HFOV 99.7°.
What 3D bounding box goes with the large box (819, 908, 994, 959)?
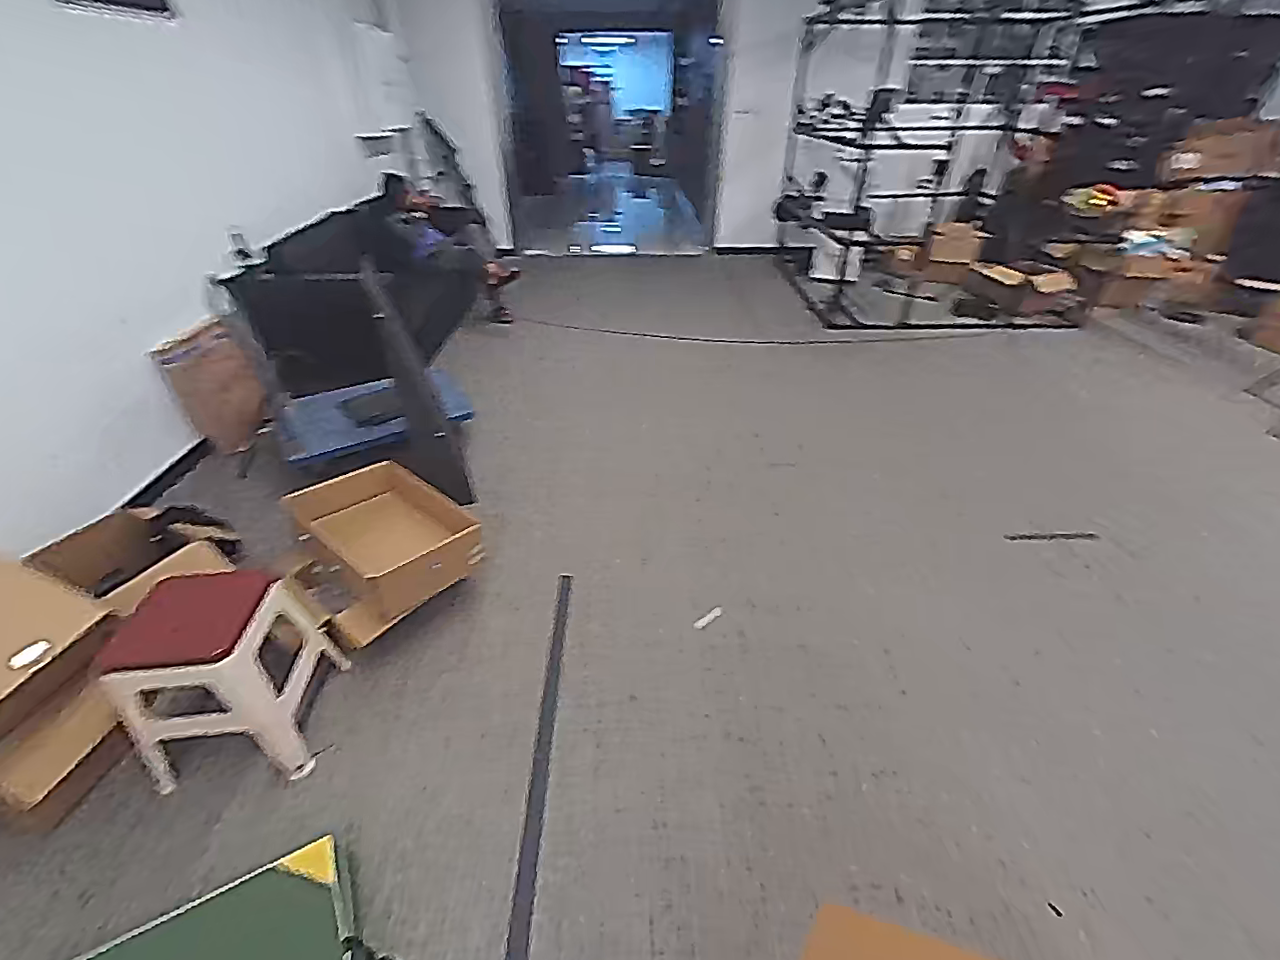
[{"bbox_3d":[0.401,0.774,0.591,0.320,0.408,0.320,41,58,2],"label":"large box"}]
